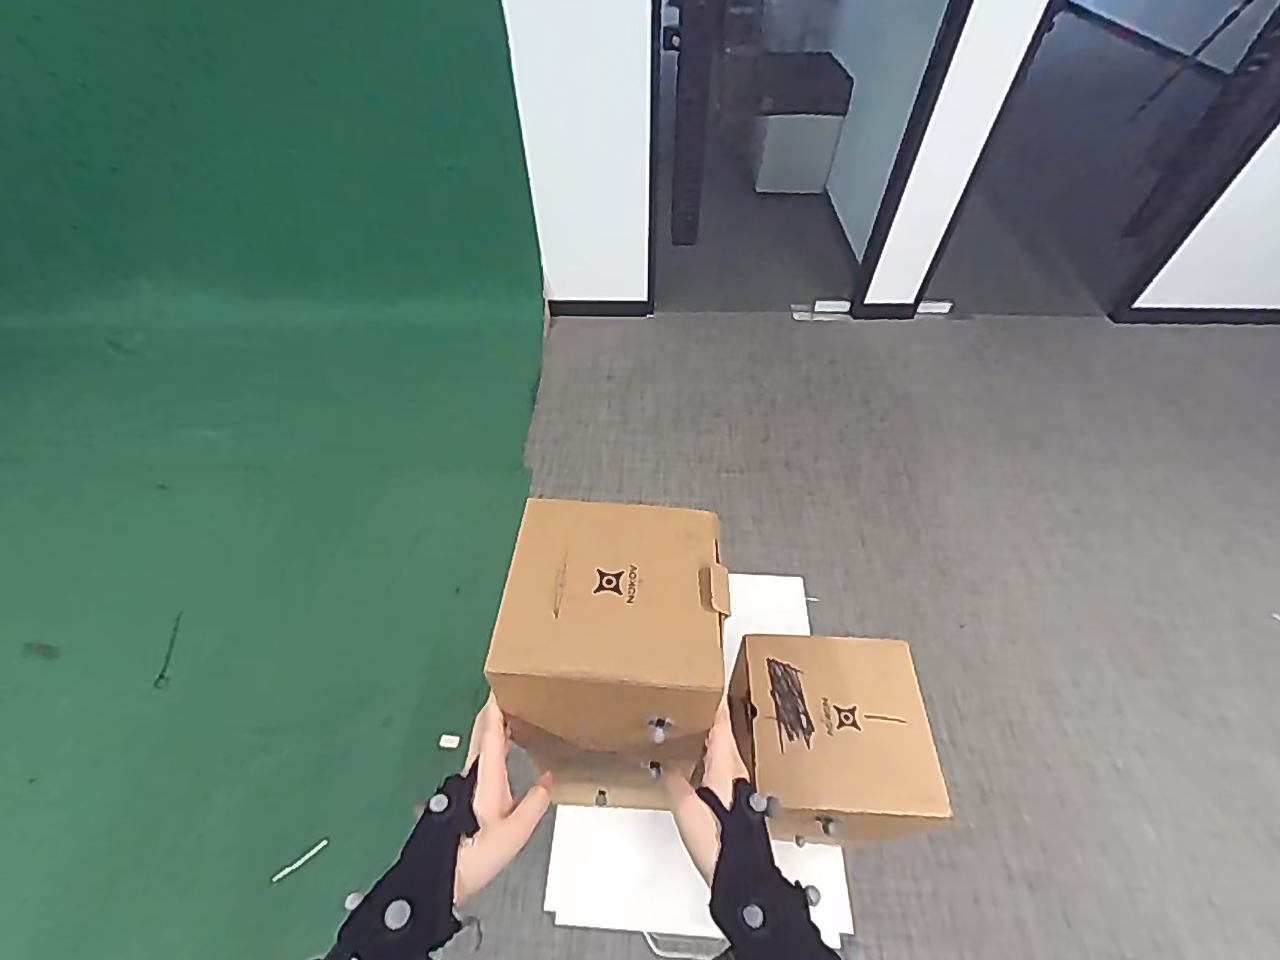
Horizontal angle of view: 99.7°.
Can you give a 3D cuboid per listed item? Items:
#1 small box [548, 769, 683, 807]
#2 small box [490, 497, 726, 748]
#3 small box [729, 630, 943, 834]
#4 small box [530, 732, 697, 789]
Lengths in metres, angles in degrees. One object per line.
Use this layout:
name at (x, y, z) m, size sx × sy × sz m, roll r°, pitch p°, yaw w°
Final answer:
small box at (-0.033, 0.348, 0.758) m, size 0.179 × 0.176 × 0.168 m, roll 3°, pitch 50°, yaw 0°
small box at (-0.023, 0.137, 0.506) m, size 0.179 × 0.176 × 0.168 m, roll 4°, pitch 47°, yaw 0°
small box at (0.194, 0.283, 0.601) m, size 0.179 × 0.176 × 0.168 m, roll 3°, pitch 50°, yaw 2°
small box at (-0.029, 0.245, 0.630) m, size 0.179 × 0.176 × 0.168 m, roll 6°, pitch 48°, yaw 0°
